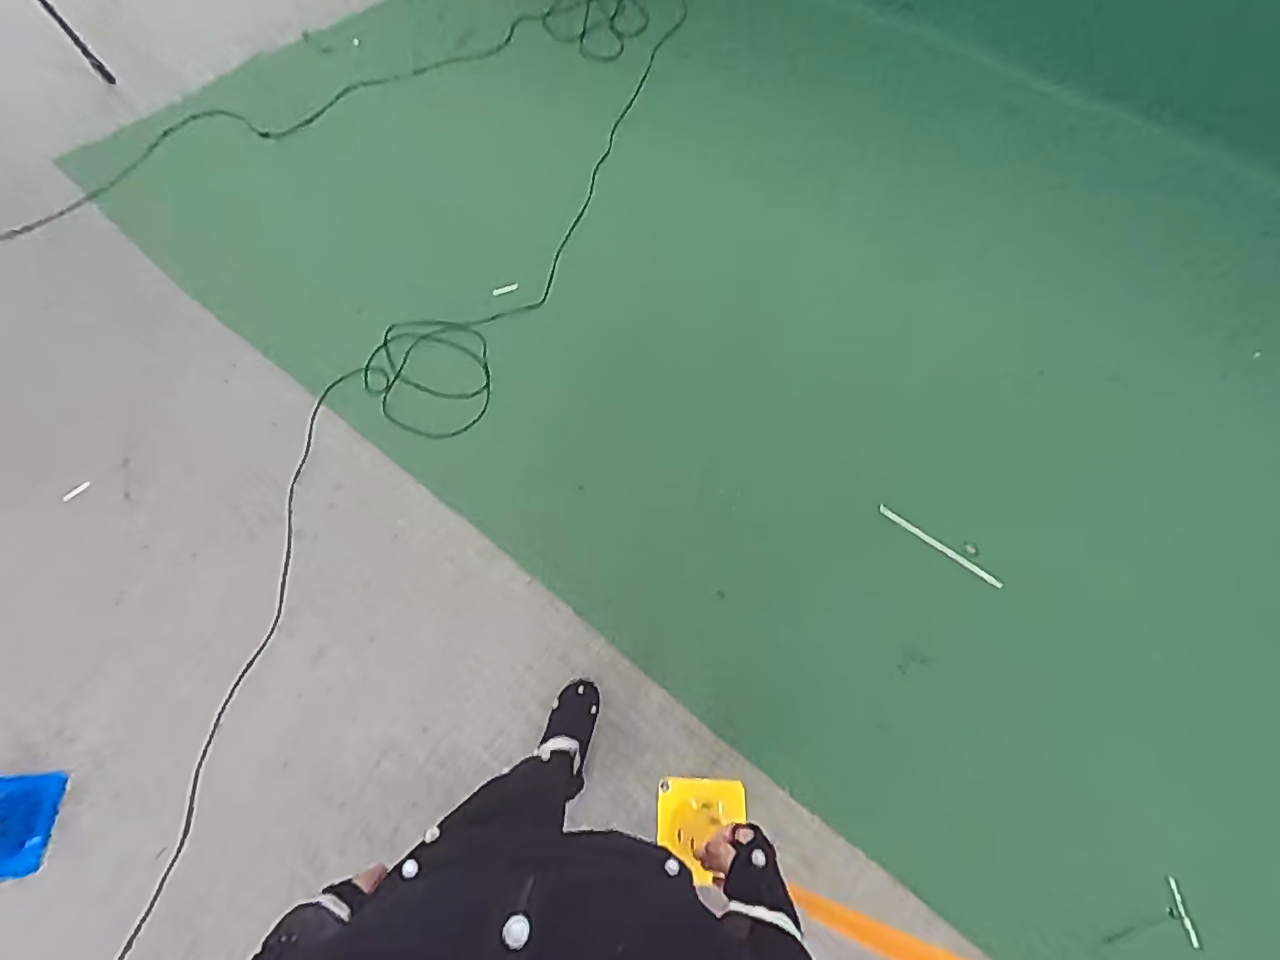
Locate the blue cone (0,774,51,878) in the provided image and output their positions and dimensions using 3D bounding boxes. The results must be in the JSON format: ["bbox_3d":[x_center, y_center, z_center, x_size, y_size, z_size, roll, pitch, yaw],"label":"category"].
[{"bbox_3d":[-1.388,0.685,1.011,0.193,0.380,0.192,-6,67,-2],"label":"blue cone"}]
